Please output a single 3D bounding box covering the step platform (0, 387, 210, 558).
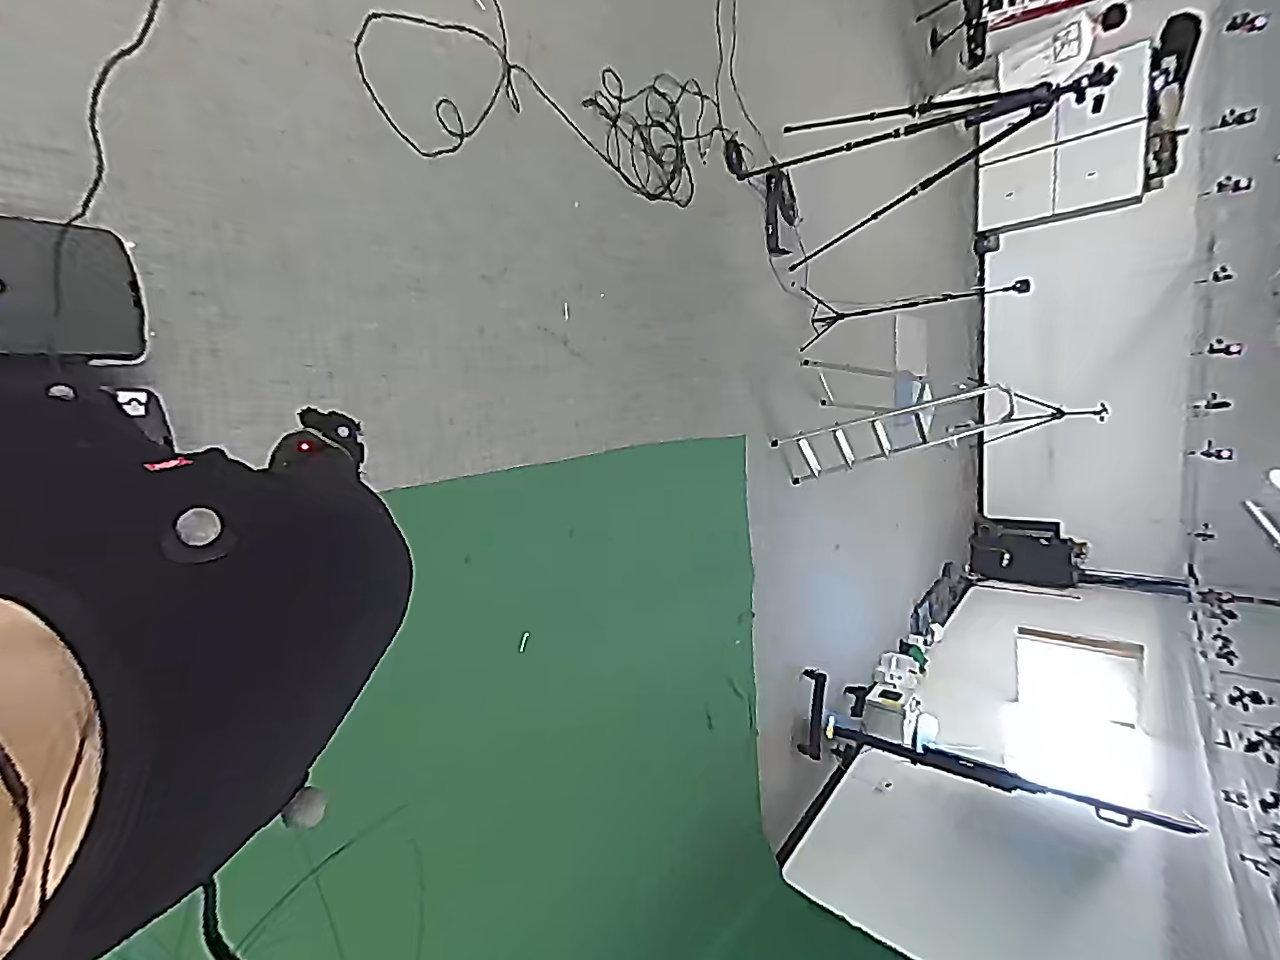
[{"bbox_3d":[-1.144,0.010,0.867,0.684,0.204,0.286,-14,102,-49],"label":"step platform"}]
